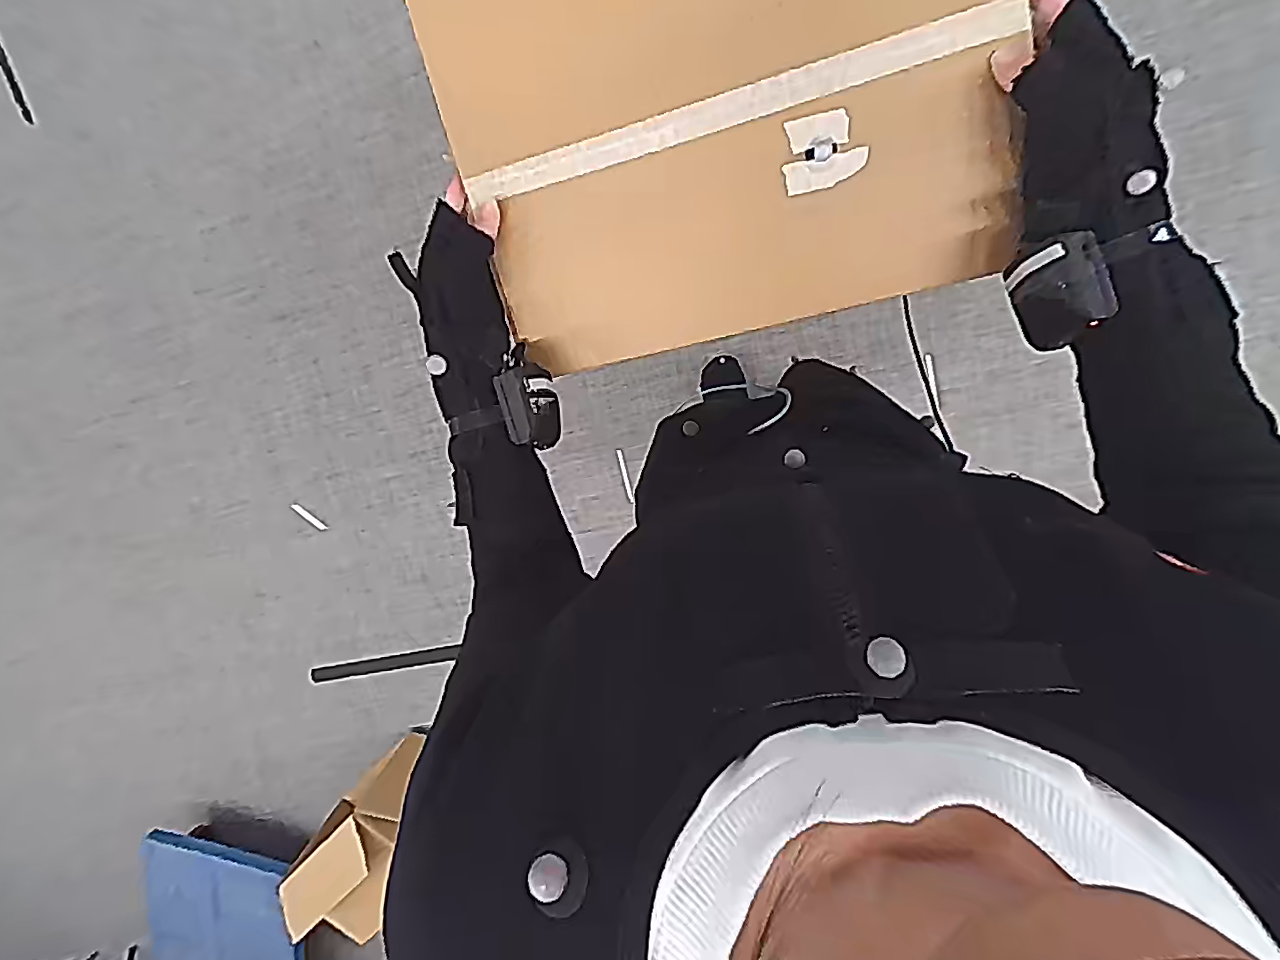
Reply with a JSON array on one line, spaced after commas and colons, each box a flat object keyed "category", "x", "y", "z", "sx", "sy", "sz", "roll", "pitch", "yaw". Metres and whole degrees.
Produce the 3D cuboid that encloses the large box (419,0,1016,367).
[{"category": "large box", "x": 0.074, "y": -0.331, "z": 0.540, "sx": 0.408, "sy": 0.320, "sz": 0.320, "roll": -11, "pitch": 110, "yaw": 11}]
